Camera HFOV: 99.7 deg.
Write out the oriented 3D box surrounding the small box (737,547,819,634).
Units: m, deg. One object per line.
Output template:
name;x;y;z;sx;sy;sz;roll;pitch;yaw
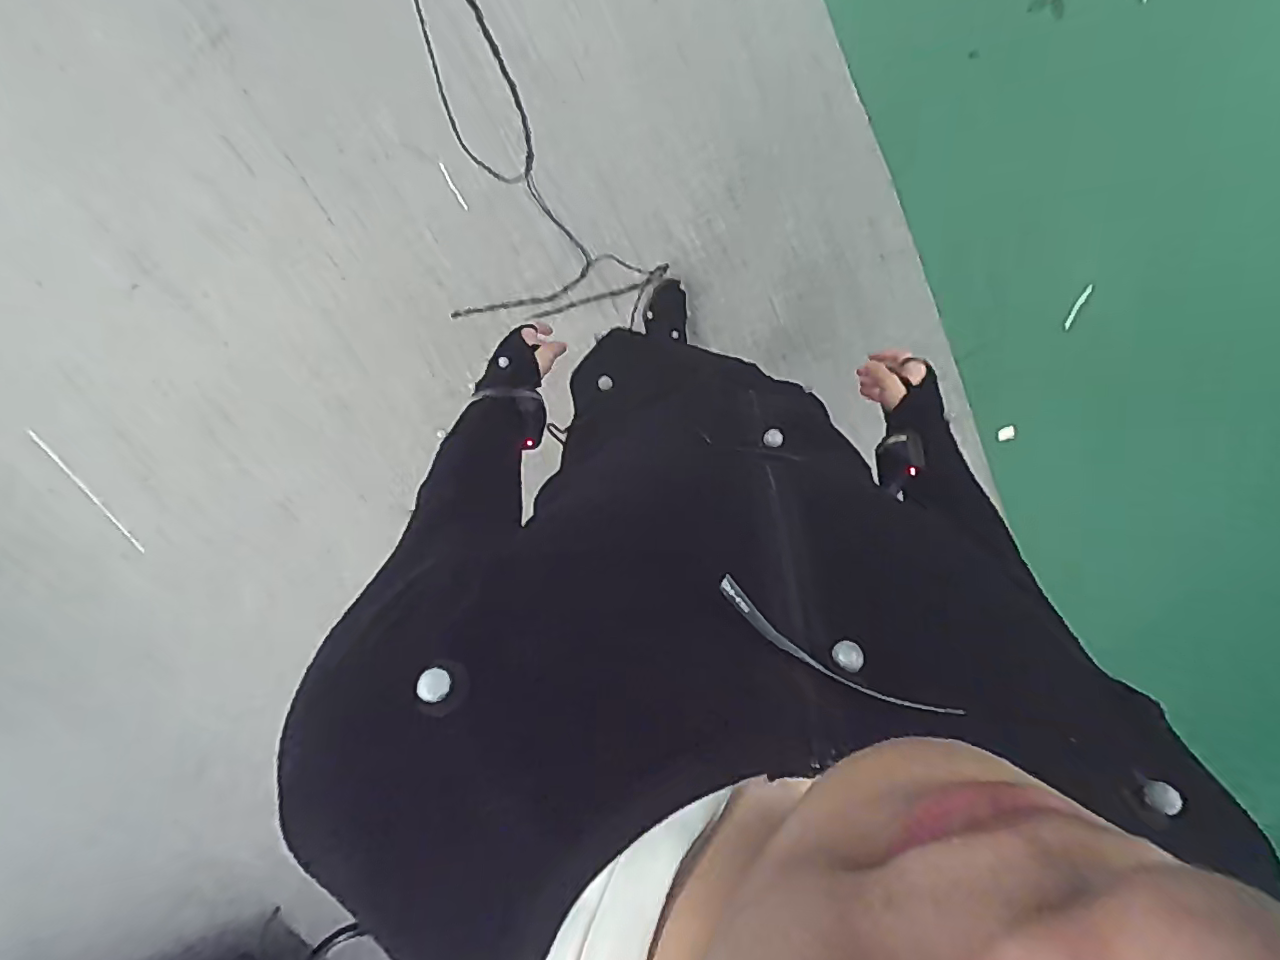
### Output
small box;0.417;0.333;1.661;0.179;0.176;0.168;-27;105;9
